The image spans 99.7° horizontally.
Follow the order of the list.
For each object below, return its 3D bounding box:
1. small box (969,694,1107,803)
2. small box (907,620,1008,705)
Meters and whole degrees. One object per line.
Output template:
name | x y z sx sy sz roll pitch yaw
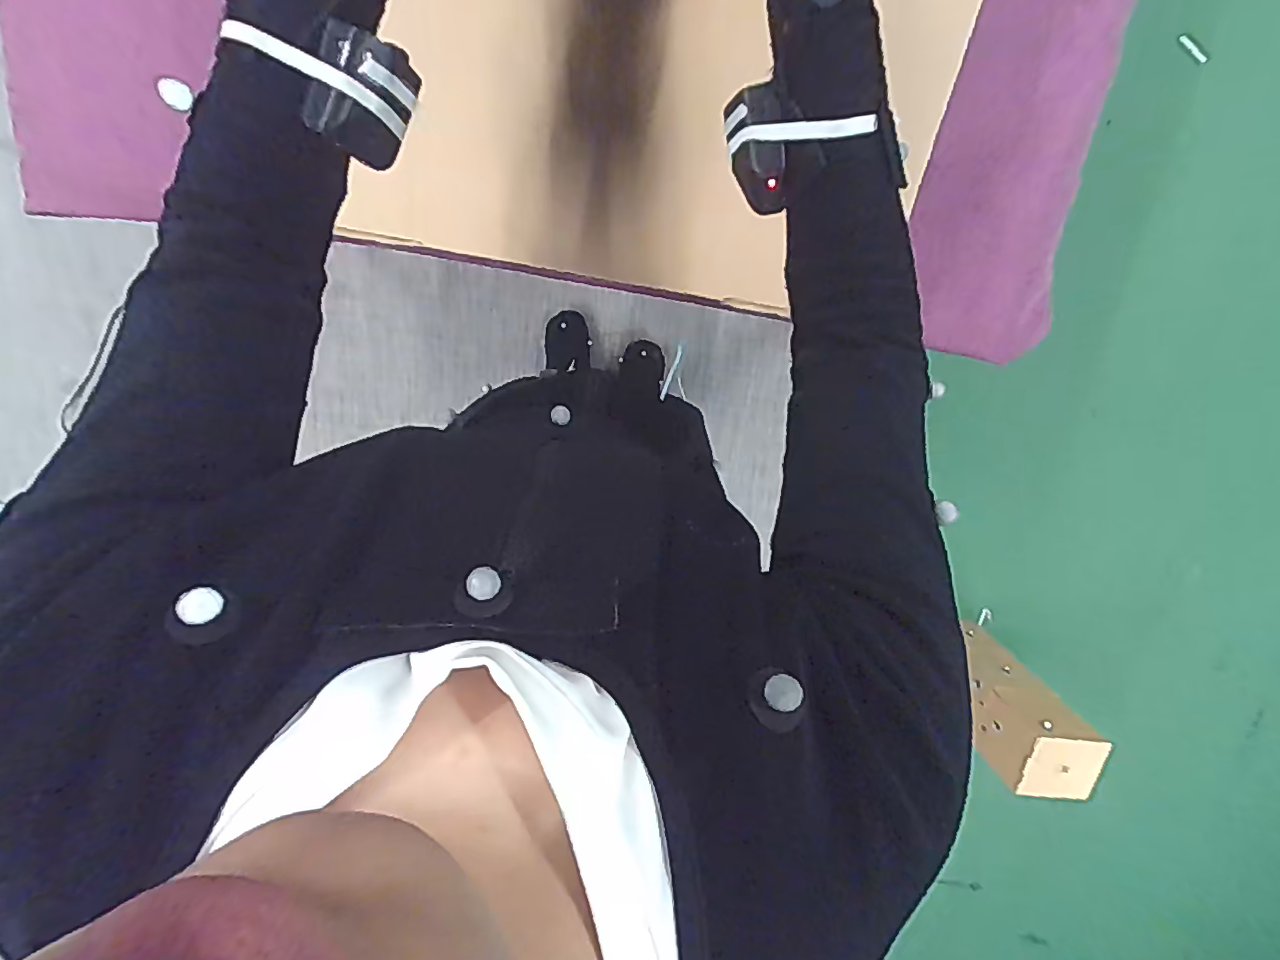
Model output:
small box | 0.940 0.636 1.294 0.179 0.176 0.168 6 107 -4
small box | 0.931 0.536 1.606 0.179 0.176 0.168 9 107 -5
